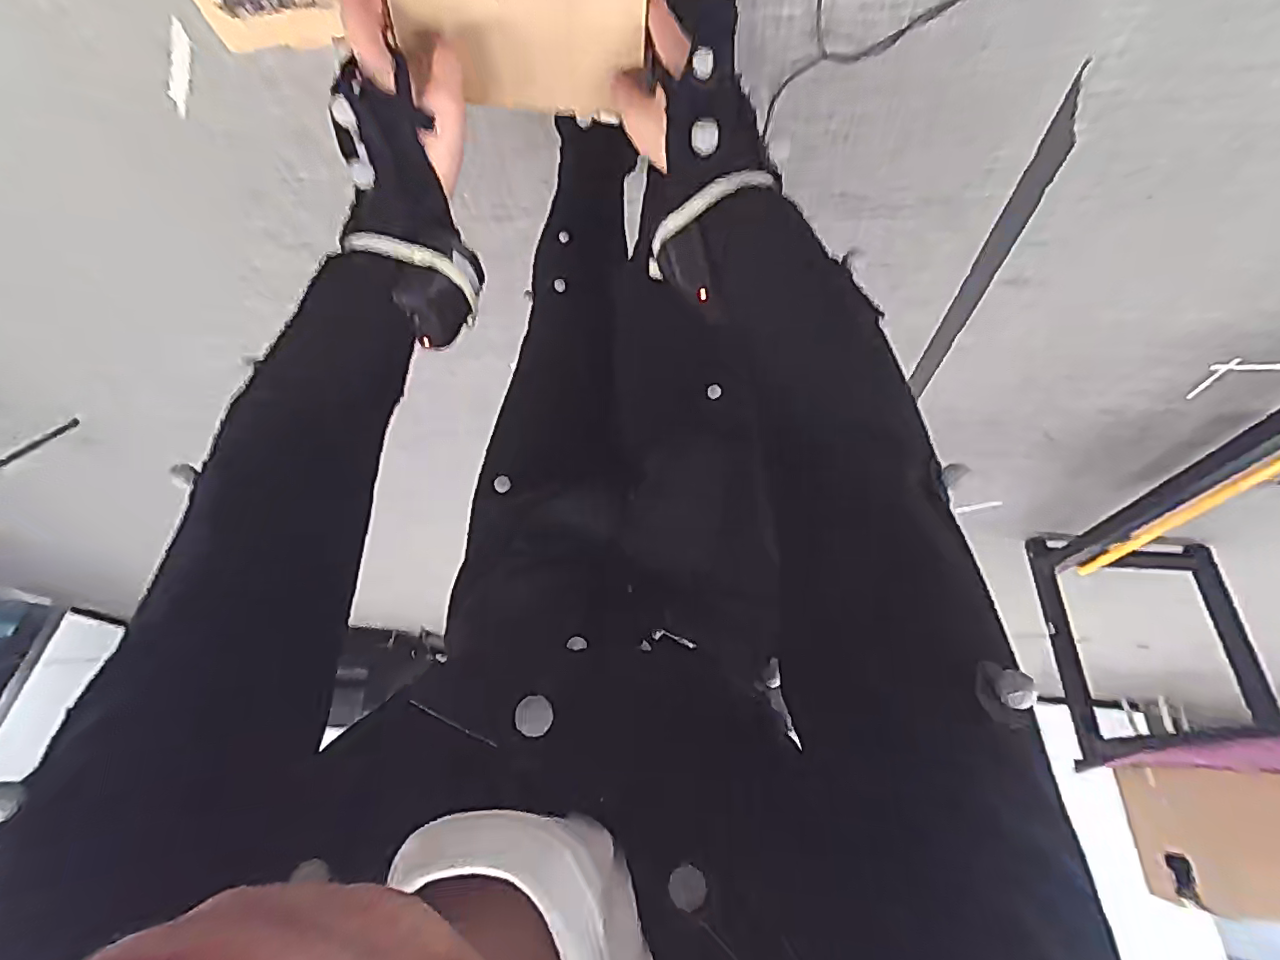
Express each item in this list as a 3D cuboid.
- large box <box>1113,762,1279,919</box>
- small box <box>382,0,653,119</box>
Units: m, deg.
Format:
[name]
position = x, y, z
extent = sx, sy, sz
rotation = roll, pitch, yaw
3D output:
[large box]
position = 1.559, 0.905, 1.371
extent = 0.408, 0.320, 0.320
rotation = 0, 152, 7
[small box]
position = -0.079, -0.381, 0.387
extent = 0.179, 0.176, 0.168
rotation = 2, 136, -2
